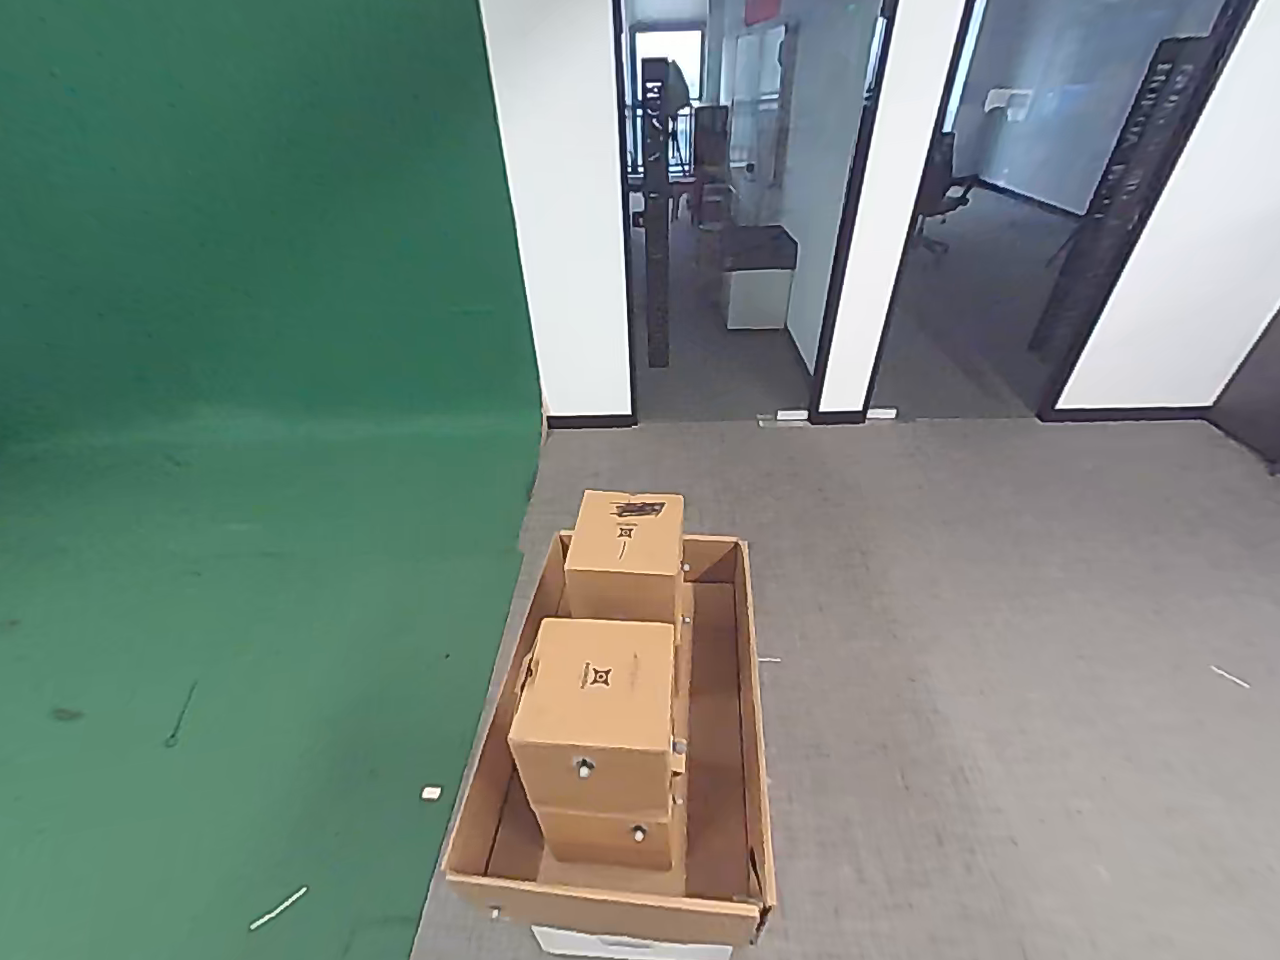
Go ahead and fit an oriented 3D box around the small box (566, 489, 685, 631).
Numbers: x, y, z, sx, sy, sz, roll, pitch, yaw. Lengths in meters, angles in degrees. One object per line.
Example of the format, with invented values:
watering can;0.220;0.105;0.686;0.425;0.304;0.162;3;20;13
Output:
small box;-0.017;0.138;0.889;0.168;0.176;0.179;4;41;6

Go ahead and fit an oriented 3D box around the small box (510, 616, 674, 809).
small box;-0.047;0.297;0.692;0.179;0.176;0.168;2;38;4
